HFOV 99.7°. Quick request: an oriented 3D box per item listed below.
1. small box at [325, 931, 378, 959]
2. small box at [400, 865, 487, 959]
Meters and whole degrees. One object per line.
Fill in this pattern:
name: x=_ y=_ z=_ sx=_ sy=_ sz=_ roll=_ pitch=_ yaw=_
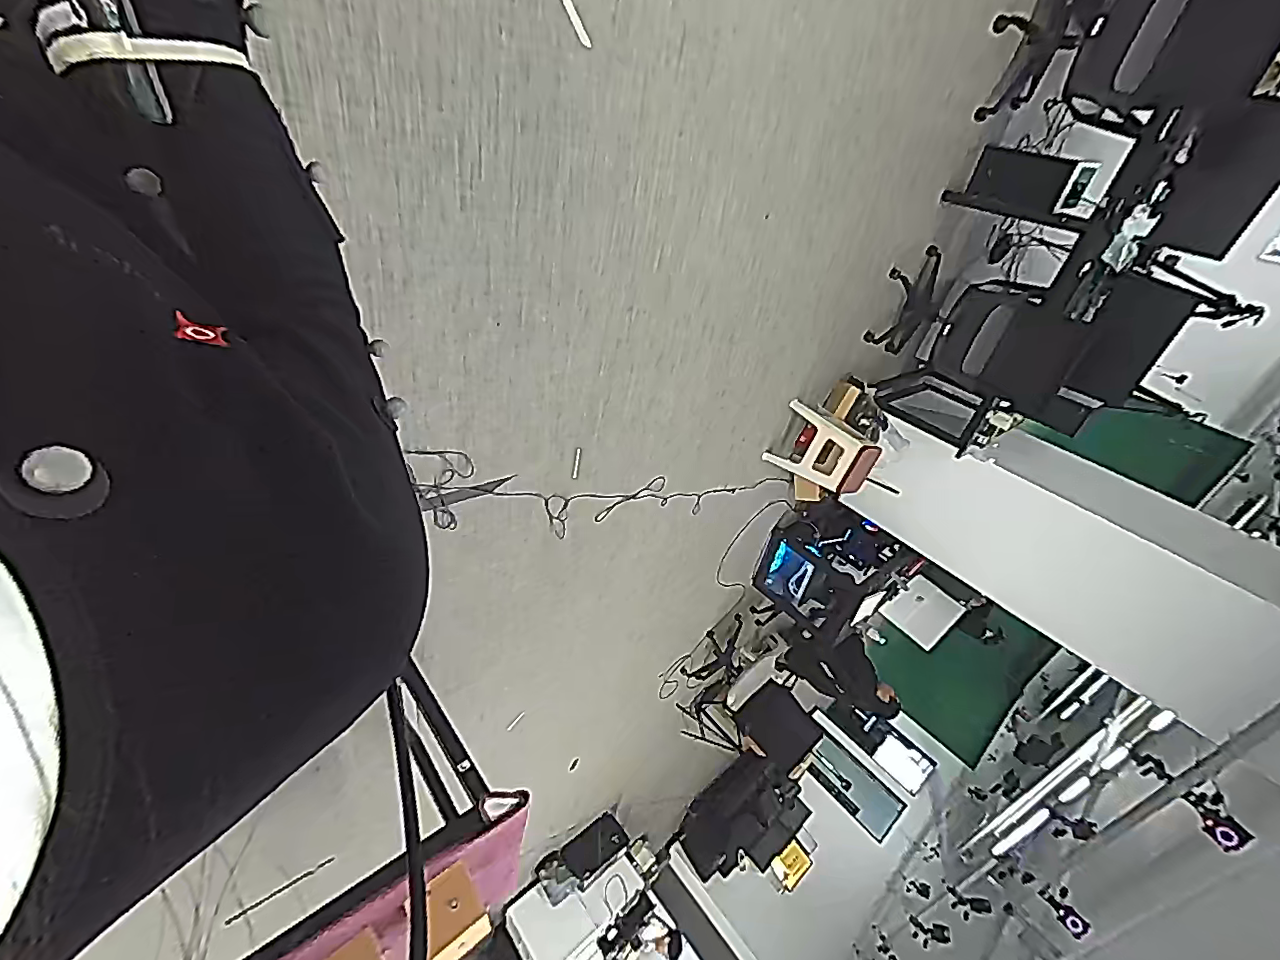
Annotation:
small box: x=-0.733 y=1.285 z=1.337 sx=0.179 sy=0.176 sz=0.168 roll=-21 pitch=137 yaw=-36
small box: x=-0.544 y=1.219 z=1.497 sx=0.168 sy=0.176 sz=0.179 roll=-24 pitch=138 yaw=-34
